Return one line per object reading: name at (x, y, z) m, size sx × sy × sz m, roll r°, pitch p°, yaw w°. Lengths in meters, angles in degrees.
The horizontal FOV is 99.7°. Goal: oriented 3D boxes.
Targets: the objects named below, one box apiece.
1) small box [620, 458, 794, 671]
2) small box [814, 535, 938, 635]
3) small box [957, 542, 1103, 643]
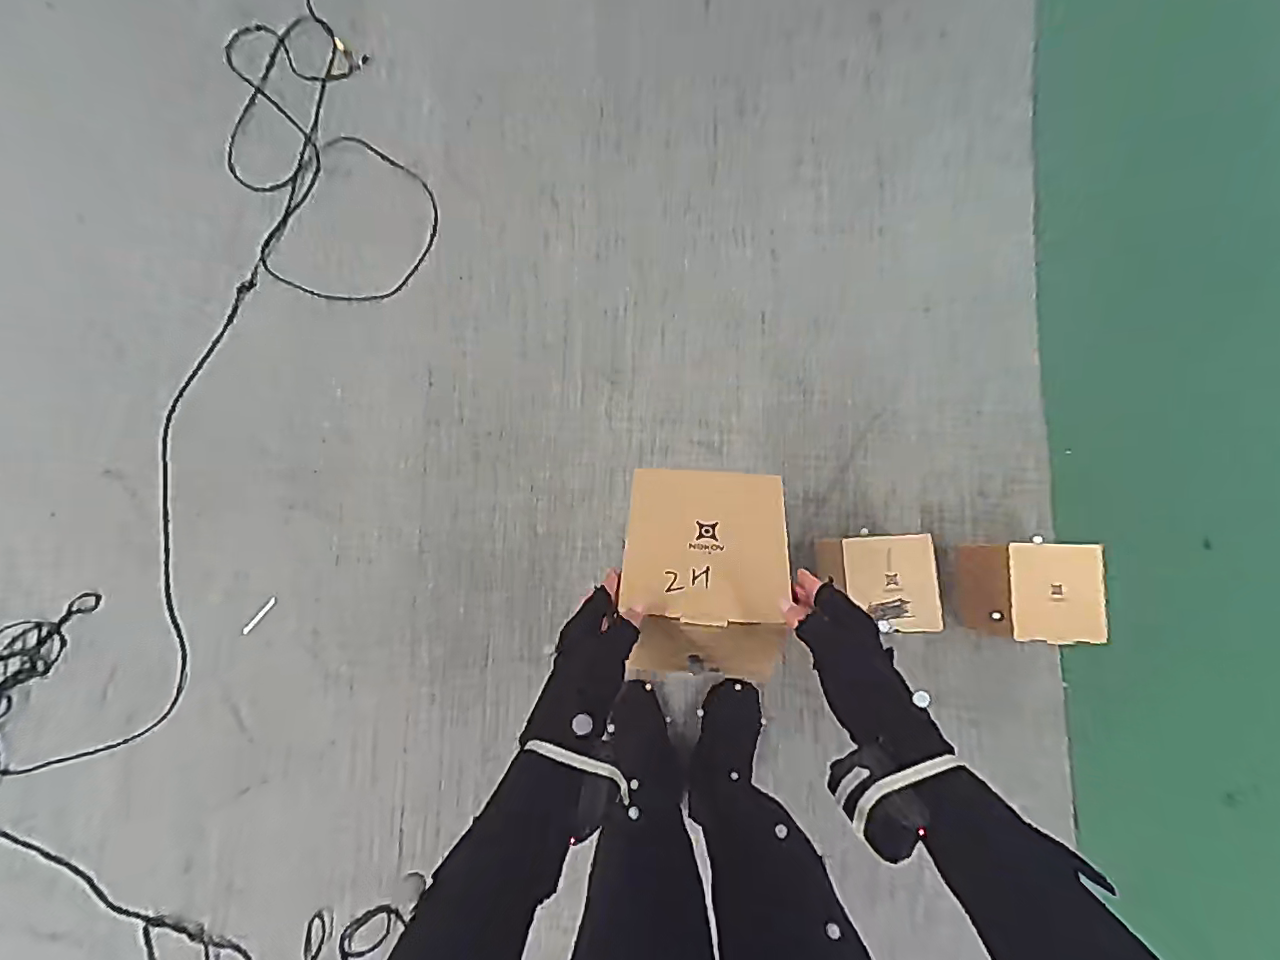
small box at (0.071, 0.097, 0.612) m, size 0.168 × 0.176 × 0.179 m, roll 4°, pitch 55°, yaw 5°
small box at (0.449, 0.198, 1.054) m, size 0.168 × 0.176 × 0.179 m, roll -3°, pitch 82°, yaw 0°
small box at (0.742, 0.212, 1.048) m, size 0.168 × 0.176 × 0.179 m, roll 1°, pitch 83°, yaw 2°
